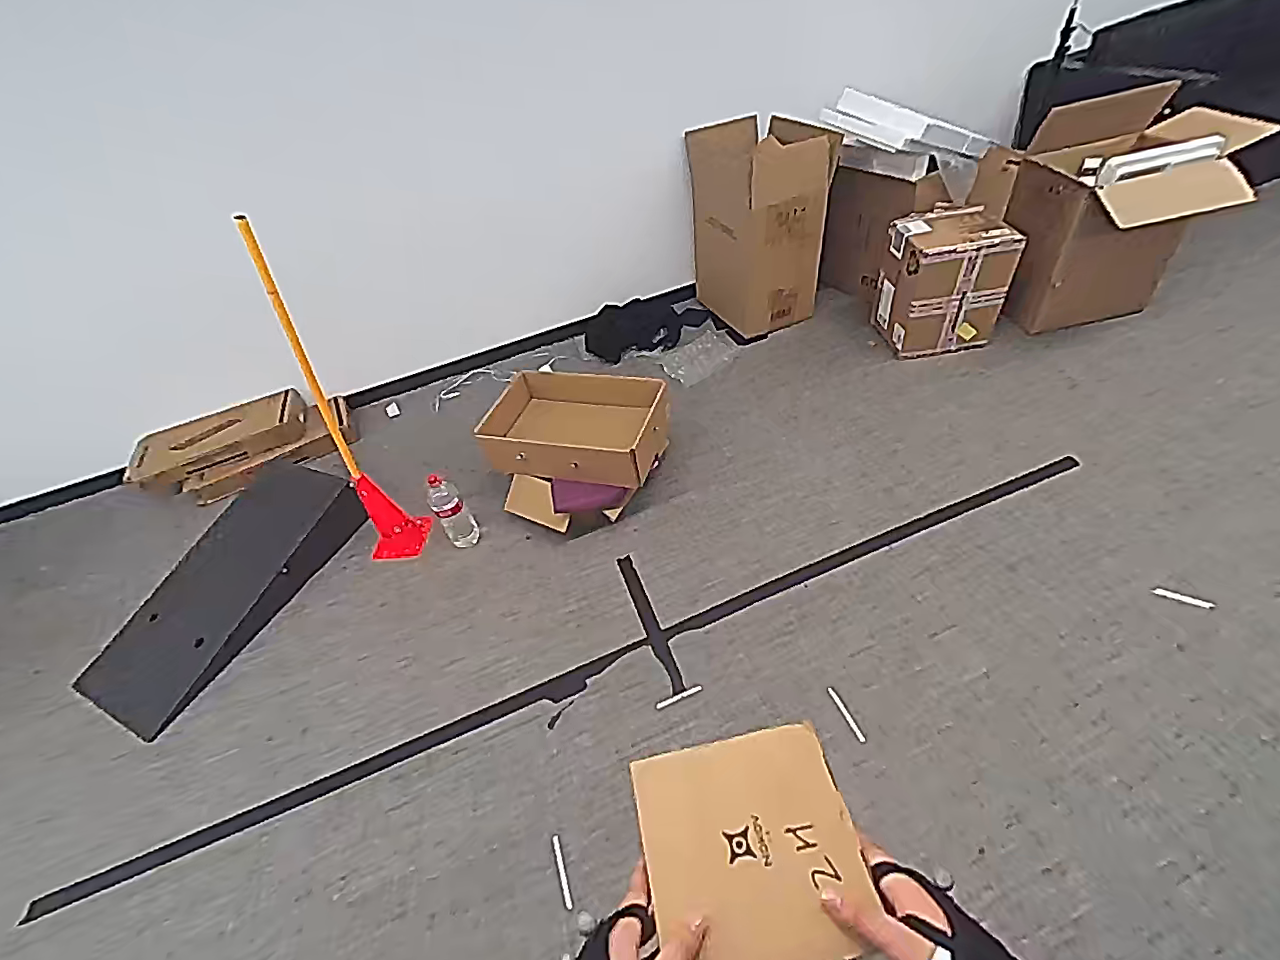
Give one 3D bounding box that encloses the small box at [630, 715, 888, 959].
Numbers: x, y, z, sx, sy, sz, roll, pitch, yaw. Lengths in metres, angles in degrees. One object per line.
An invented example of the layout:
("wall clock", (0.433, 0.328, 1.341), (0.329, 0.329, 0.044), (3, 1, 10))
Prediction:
("small box", (0.096, 0.349, 0.510), (0.179, 0.176, 0.168), (-11, 49, -4))
